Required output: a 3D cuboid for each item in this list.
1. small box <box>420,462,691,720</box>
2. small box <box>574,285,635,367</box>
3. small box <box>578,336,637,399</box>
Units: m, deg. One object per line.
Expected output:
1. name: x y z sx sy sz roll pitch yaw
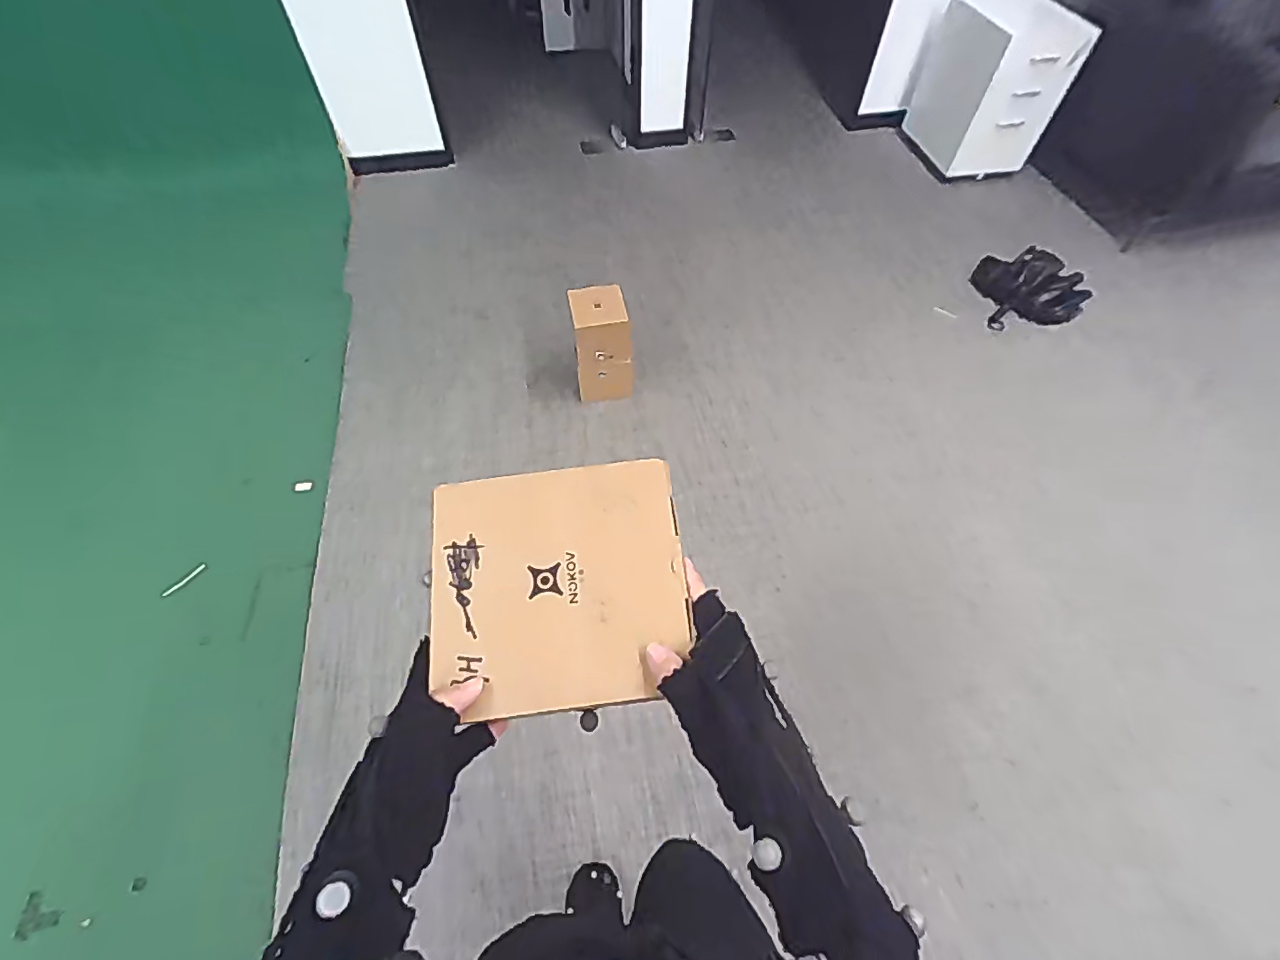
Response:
1. small box: -0.060 0.099 0.448 0.179 0.176 0.168 -6 67 -1
2. small box: -0.111 -0.487 1.713 0.168 0.176 0.179 -11 59 -5
3. small box: -0.109 -0.392 1.844 0.179 0.176 0.168 -8 57 -6
